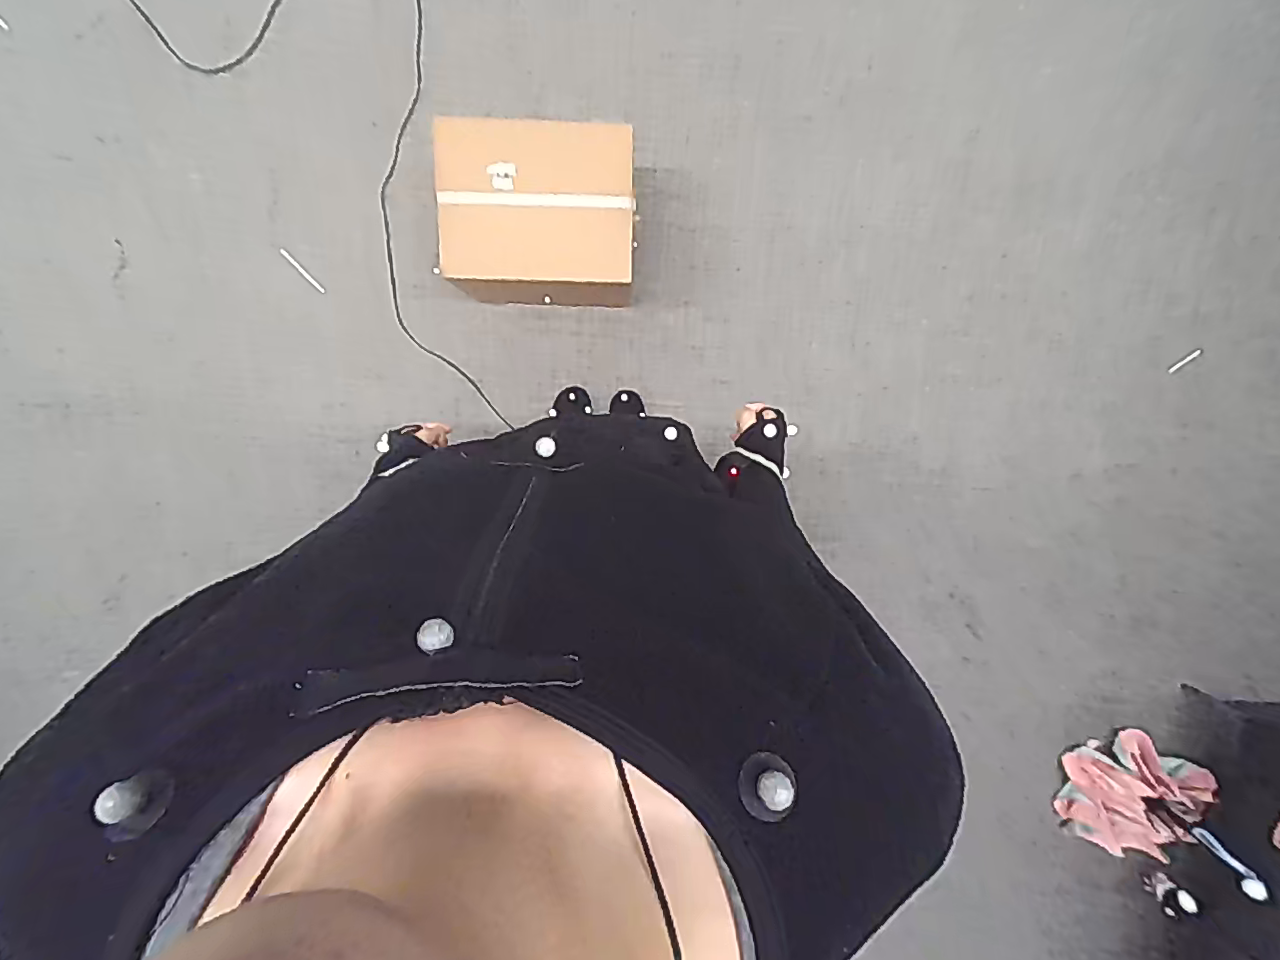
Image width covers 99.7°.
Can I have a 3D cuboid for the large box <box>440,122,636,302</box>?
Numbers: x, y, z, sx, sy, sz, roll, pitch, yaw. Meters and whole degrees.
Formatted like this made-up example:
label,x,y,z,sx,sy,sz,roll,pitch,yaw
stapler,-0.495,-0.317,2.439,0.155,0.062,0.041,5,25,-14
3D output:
label,x,y,z,sx,sy,sz,roll,pitch,yaw
large box,-0.211,-0.599,1.267,0.408,0.320,0.320,1,98,-1
